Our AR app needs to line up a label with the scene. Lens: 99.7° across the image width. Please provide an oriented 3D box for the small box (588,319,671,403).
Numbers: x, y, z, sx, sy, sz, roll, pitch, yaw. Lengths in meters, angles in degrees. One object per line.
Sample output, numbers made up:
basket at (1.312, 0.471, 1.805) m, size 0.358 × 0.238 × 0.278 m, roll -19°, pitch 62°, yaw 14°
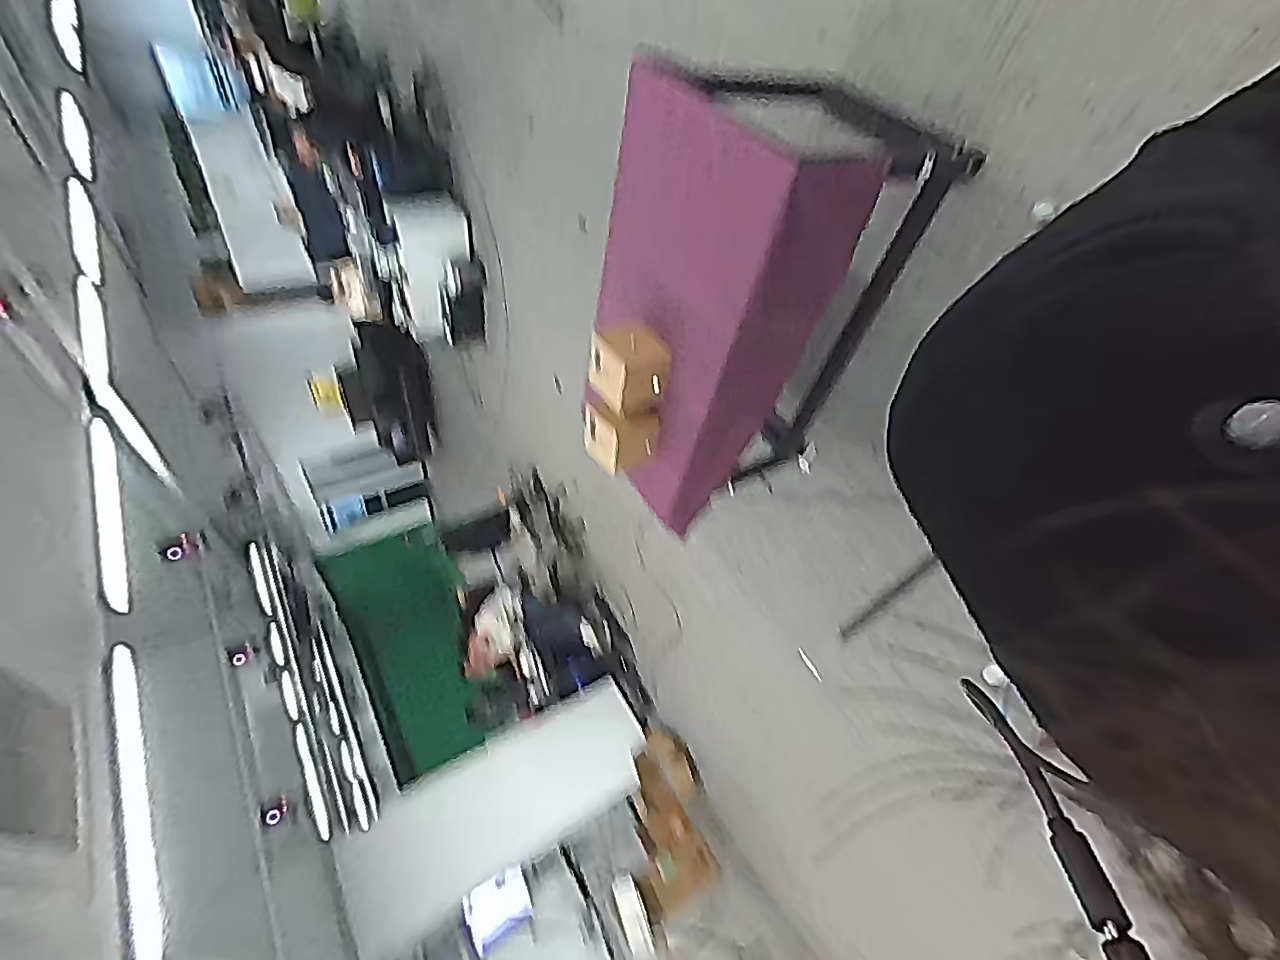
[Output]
small box at (-0.034, -0.360, 1.604) m, size 0.179 × 0.176 × 0.168 m, roll 50°, pitch 147°, yaw 30°
